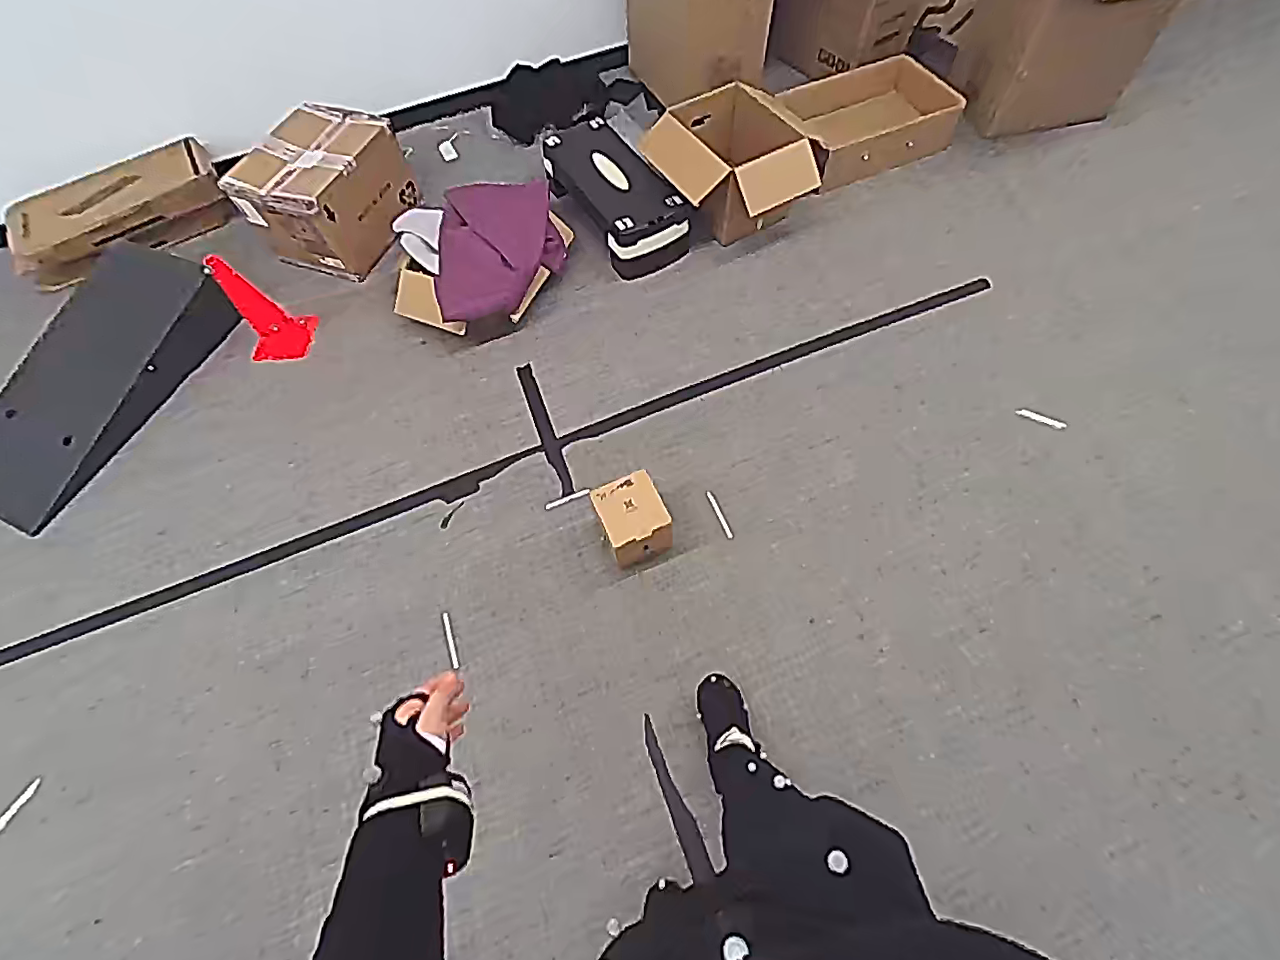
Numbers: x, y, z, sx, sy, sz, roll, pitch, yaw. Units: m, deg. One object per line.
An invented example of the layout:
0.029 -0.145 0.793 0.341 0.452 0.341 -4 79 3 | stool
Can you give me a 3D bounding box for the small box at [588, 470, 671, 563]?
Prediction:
-0.024 0.108 1.451 0.168 0.176 0.179 -23 65 -8 | small box
